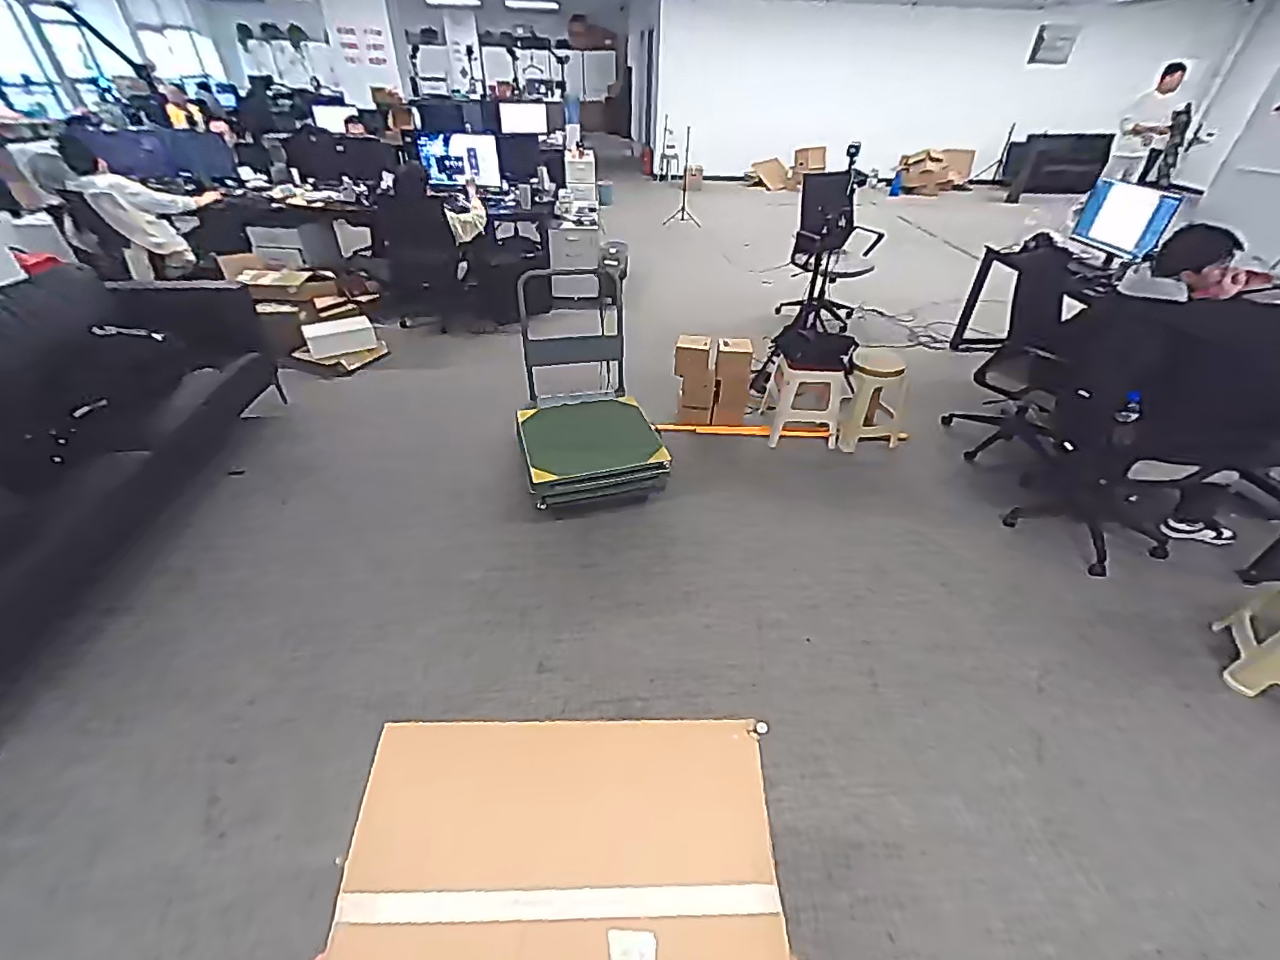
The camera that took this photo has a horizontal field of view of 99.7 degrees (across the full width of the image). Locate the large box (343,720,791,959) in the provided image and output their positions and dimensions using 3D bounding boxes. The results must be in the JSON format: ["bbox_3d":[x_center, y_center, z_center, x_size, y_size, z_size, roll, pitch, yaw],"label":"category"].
[{"bbox_3d":[-0.070,0.484,0.620,0.408,0.320,0.320,0,53,-2],"label":"large box"}]
